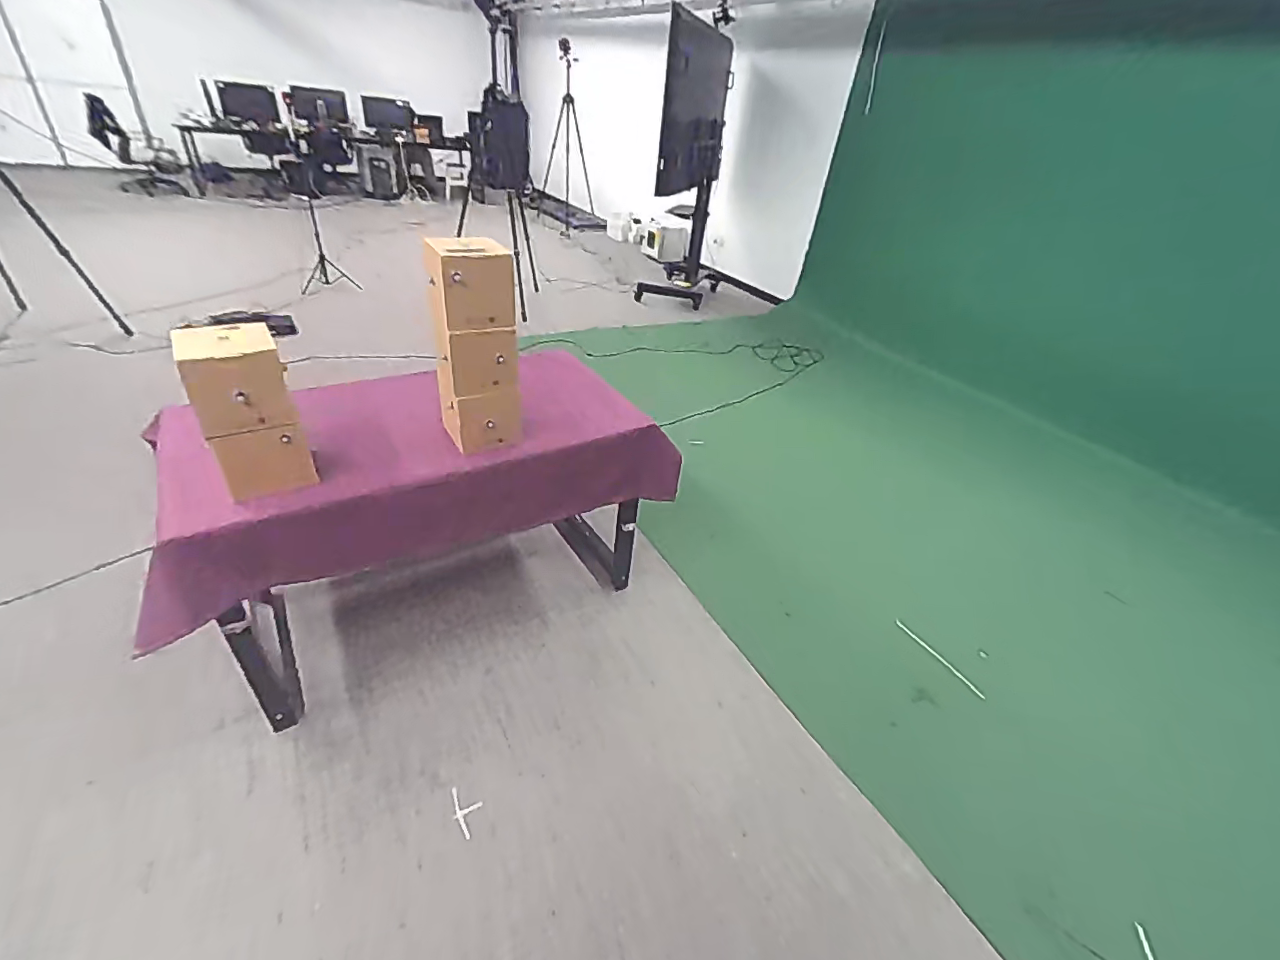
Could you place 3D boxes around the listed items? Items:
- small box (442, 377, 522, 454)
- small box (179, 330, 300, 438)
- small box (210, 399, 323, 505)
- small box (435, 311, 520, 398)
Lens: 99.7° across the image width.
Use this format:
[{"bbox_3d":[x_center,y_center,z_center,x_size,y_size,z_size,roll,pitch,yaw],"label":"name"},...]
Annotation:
[{"bbox_3d":[-0.428,-0.183,1.479,0.168,0.176,0.179,-15,40,-29],"label":"small box"},{"bbox_3d":[-0.841,-0.200,1.143,0.168,0.176,0.179,-17,41,-32],"label":"small box"},{"bbox_3d":[-0.852,-0.064,1.235,0.179,0.176,0.168,-17,40,-32],"label":"small box"},{"bbox_3d":[-0.414,-0.319,1.390,0.168,0.176,0.179,-14,39,-27],"label":"small box"}]
